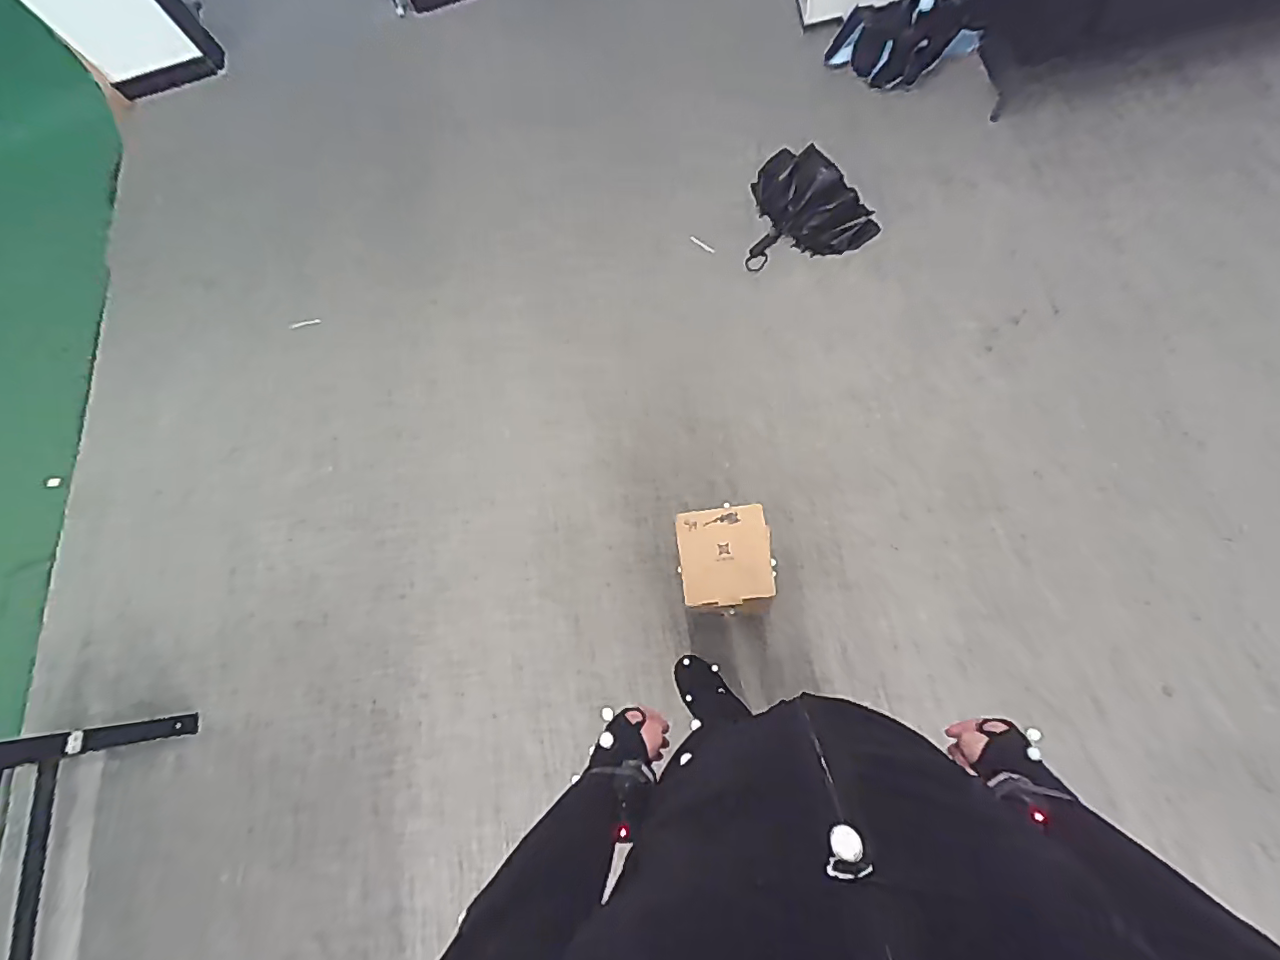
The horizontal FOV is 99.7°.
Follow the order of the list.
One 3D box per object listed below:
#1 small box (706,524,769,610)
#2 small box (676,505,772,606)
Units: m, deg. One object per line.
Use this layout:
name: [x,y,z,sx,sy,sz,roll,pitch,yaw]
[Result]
small box: [0.202,0.197,1.231,0.168,0.176,0.179,2,75,10]
small box: [0.167,0.157,1.077,0.168,0.176,0.179,-6,73,8]
